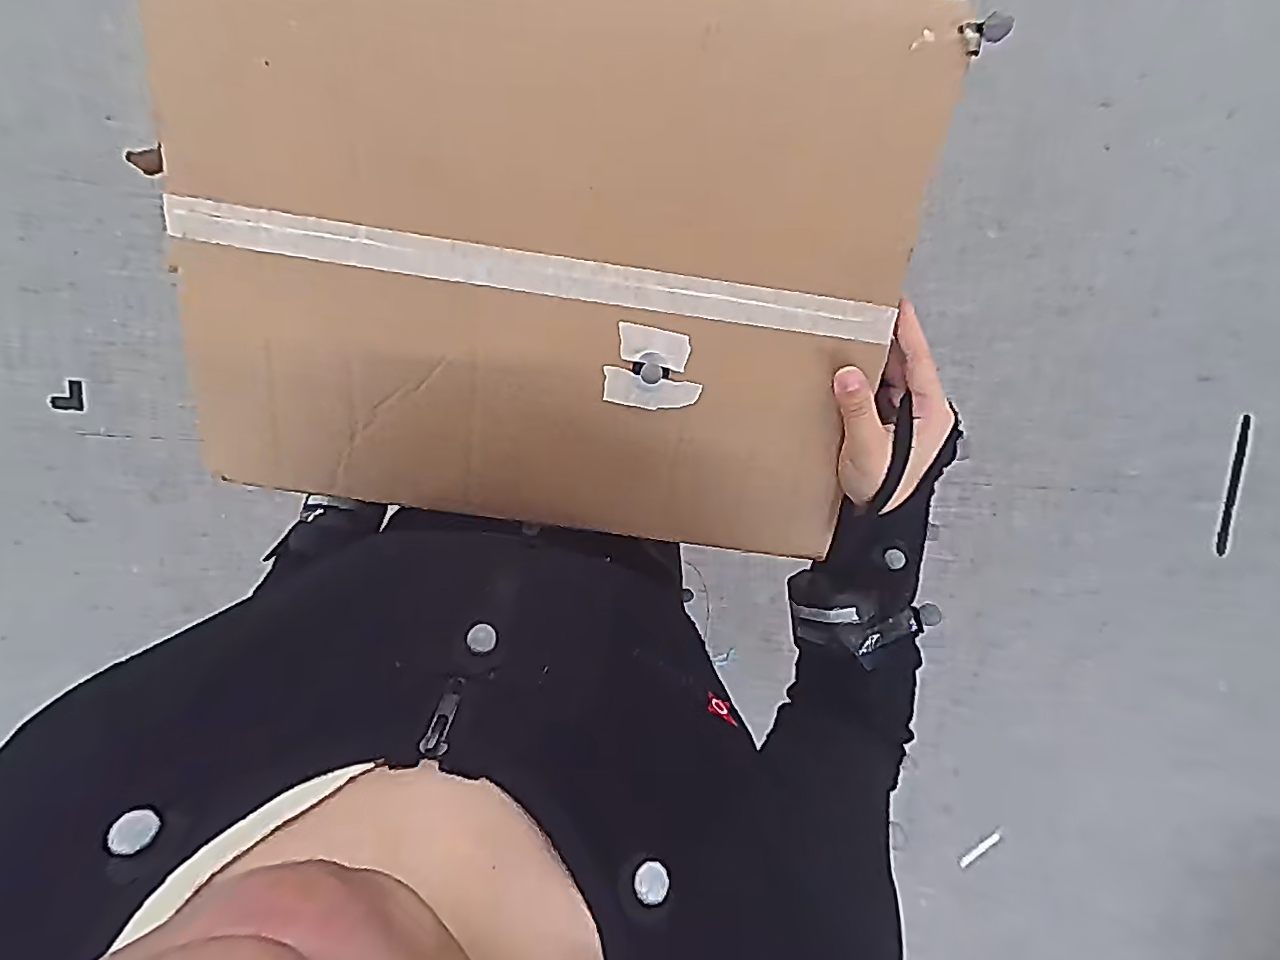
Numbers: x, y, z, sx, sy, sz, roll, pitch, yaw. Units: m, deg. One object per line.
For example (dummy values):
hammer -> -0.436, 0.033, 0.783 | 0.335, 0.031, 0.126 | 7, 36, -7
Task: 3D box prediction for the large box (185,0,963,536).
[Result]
large box -> -0.051, -0.172, 0.456 | 0.408, 0.320, 0.320 | 7, 110, -4
